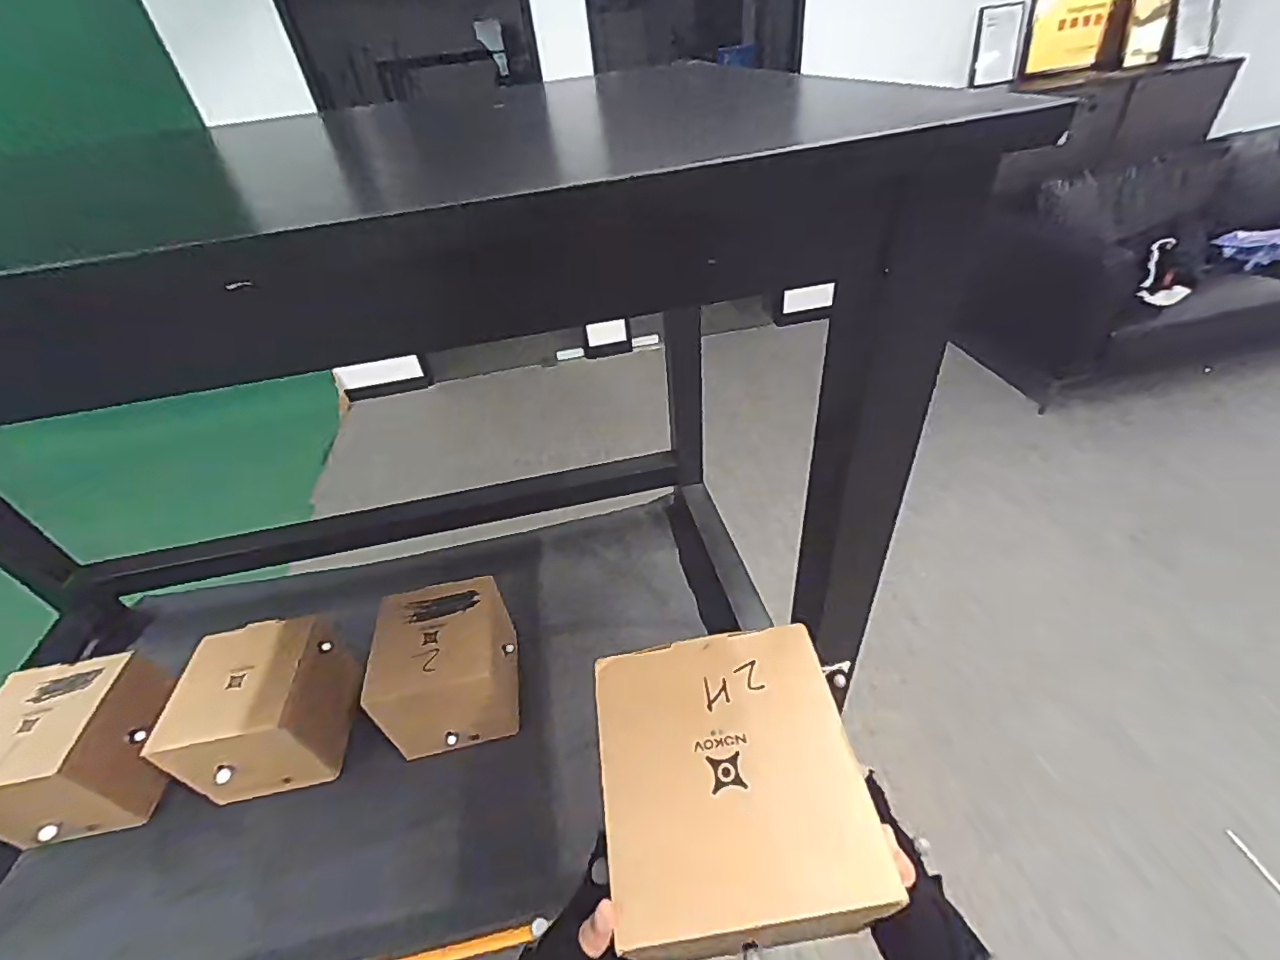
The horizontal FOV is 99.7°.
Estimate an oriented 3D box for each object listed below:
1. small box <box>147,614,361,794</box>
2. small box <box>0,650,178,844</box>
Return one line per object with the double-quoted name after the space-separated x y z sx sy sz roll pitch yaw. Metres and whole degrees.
-0.533 0.328 0.783 0.168 0.176 0.179 -10 39 -4 "small box"
-0.781 0.373 0.761 0.168 0.176 0.179 -10 40 -4 "small box"
